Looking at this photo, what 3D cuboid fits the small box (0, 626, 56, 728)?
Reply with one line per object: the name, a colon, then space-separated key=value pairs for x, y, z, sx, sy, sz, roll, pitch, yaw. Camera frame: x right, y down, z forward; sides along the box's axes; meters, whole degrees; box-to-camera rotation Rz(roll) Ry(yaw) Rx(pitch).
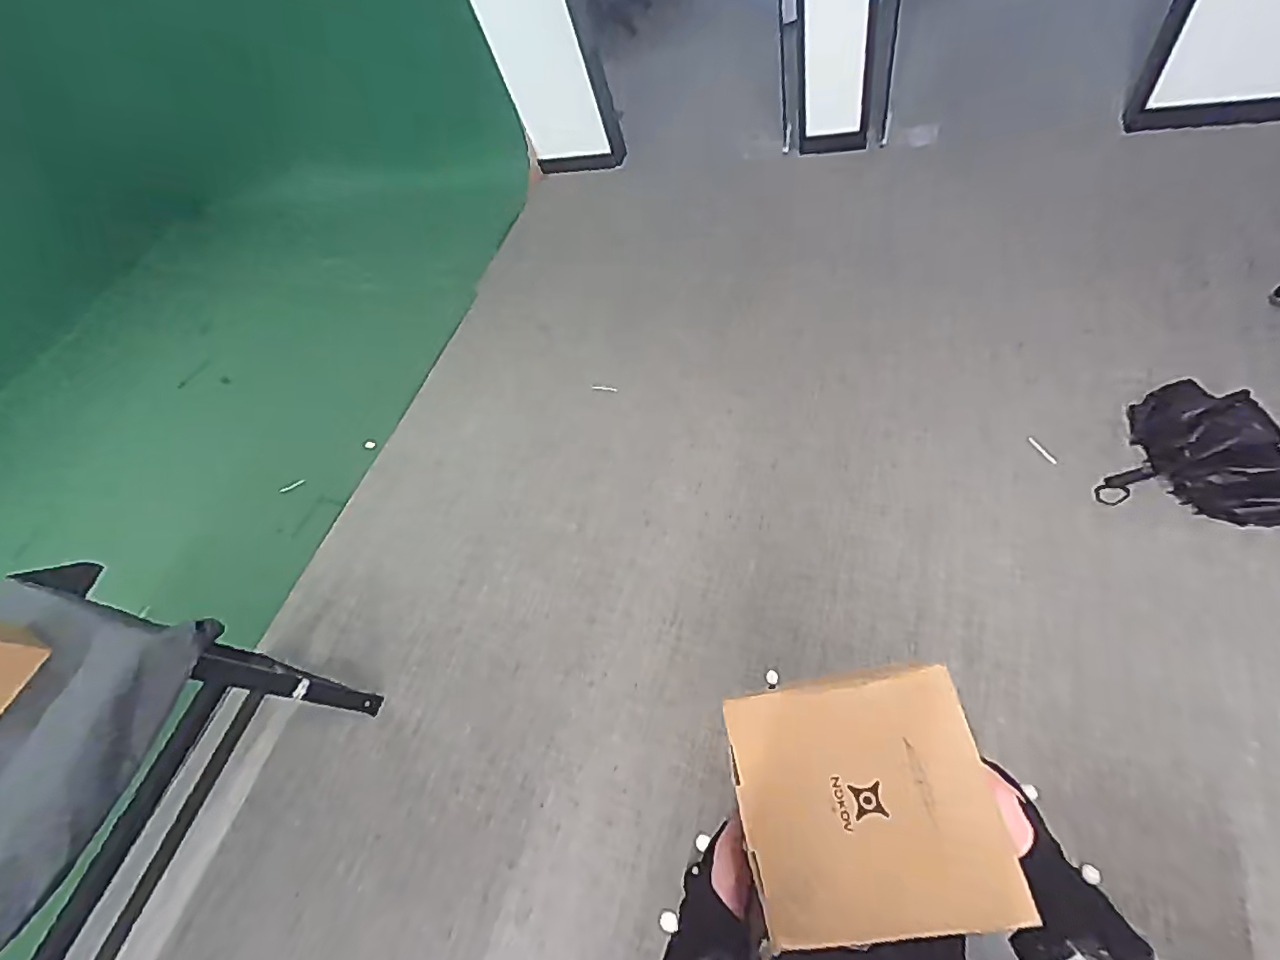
small box: x=-1.336 y=0.387 z=1.063 sx=0.168 sy=0.176 sz=0.179 roll=13 pitch=66 yaw=24
